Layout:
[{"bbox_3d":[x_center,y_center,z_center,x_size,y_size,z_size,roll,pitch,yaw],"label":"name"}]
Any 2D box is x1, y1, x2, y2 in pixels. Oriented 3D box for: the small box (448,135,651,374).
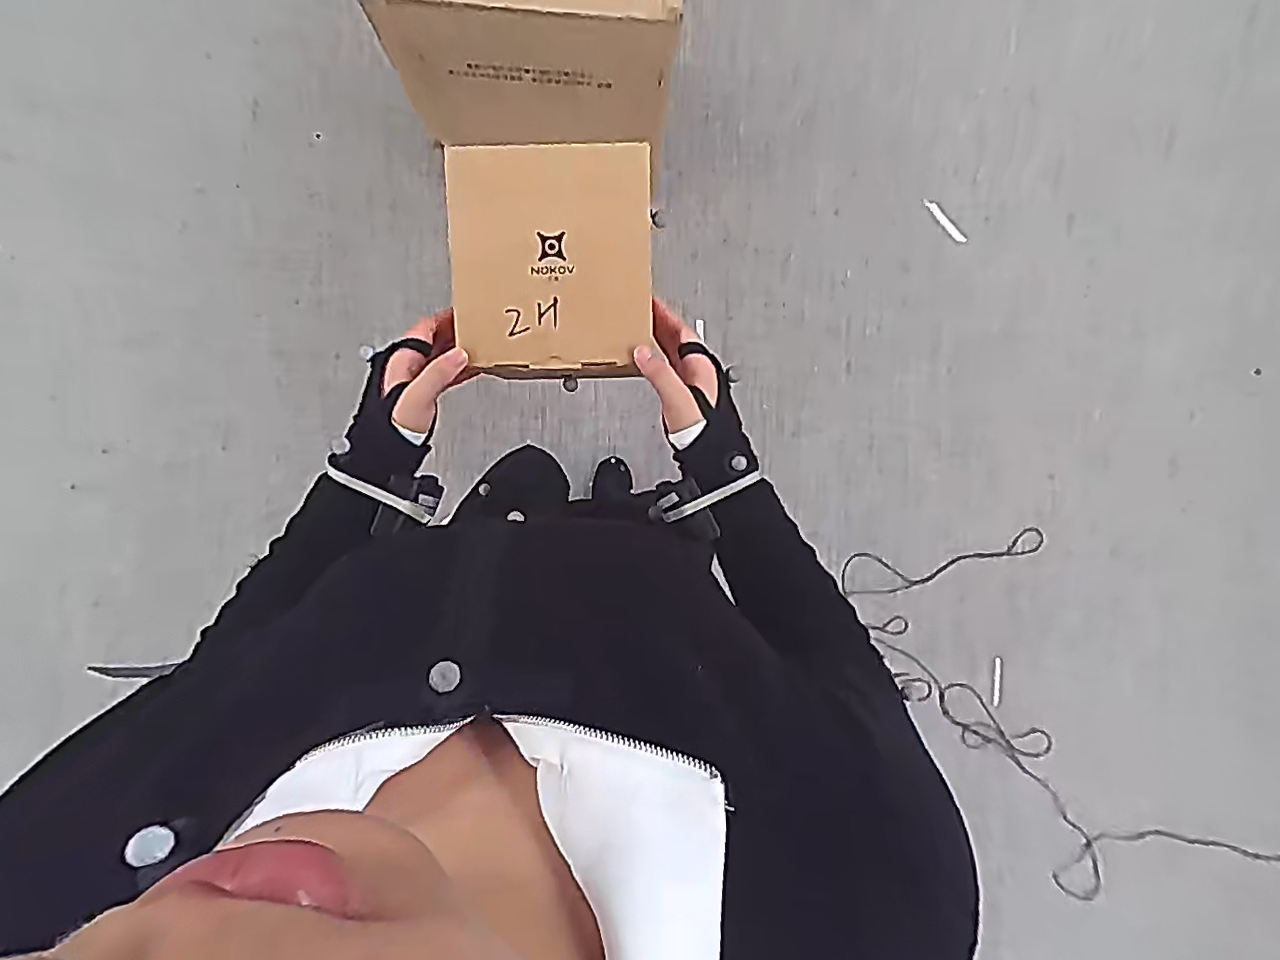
[{"bbox_3d":[-0.074,-0.200,0.525,0.168,0.176,0.179,-1,96,1],"label":"small box"}]
